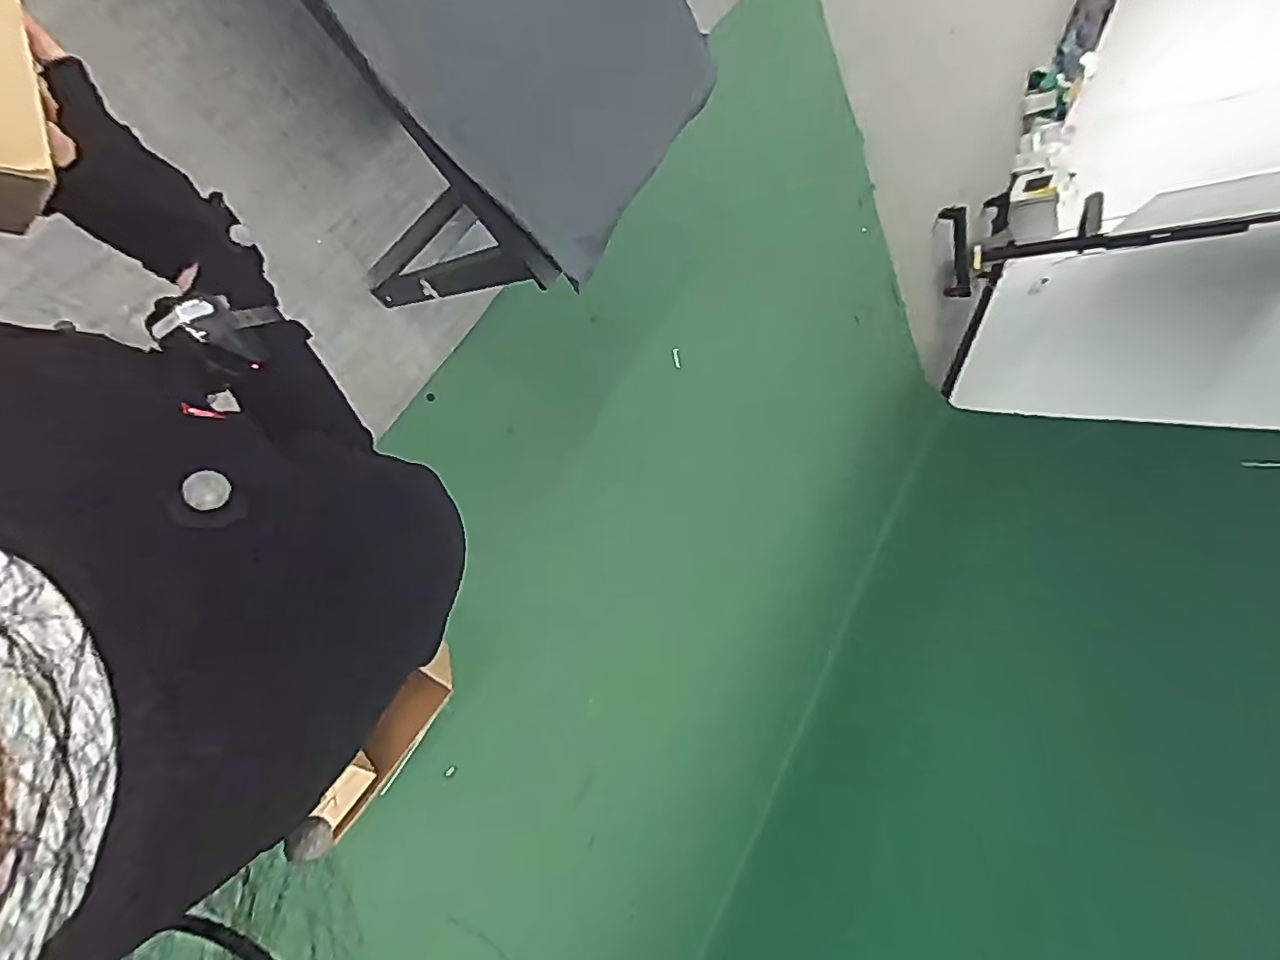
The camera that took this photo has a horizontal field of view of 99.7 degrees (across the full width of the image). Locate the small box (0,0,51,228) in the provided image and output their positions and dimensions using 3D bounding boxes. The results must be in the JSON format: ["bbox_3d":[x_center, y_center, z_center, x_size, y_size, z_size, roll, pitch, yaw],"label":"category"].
[{"bbox_3d":[-0.425,-0.239,0.255,0.168,0.176,0.179,-14,107,-50],"label":"small box"}]
